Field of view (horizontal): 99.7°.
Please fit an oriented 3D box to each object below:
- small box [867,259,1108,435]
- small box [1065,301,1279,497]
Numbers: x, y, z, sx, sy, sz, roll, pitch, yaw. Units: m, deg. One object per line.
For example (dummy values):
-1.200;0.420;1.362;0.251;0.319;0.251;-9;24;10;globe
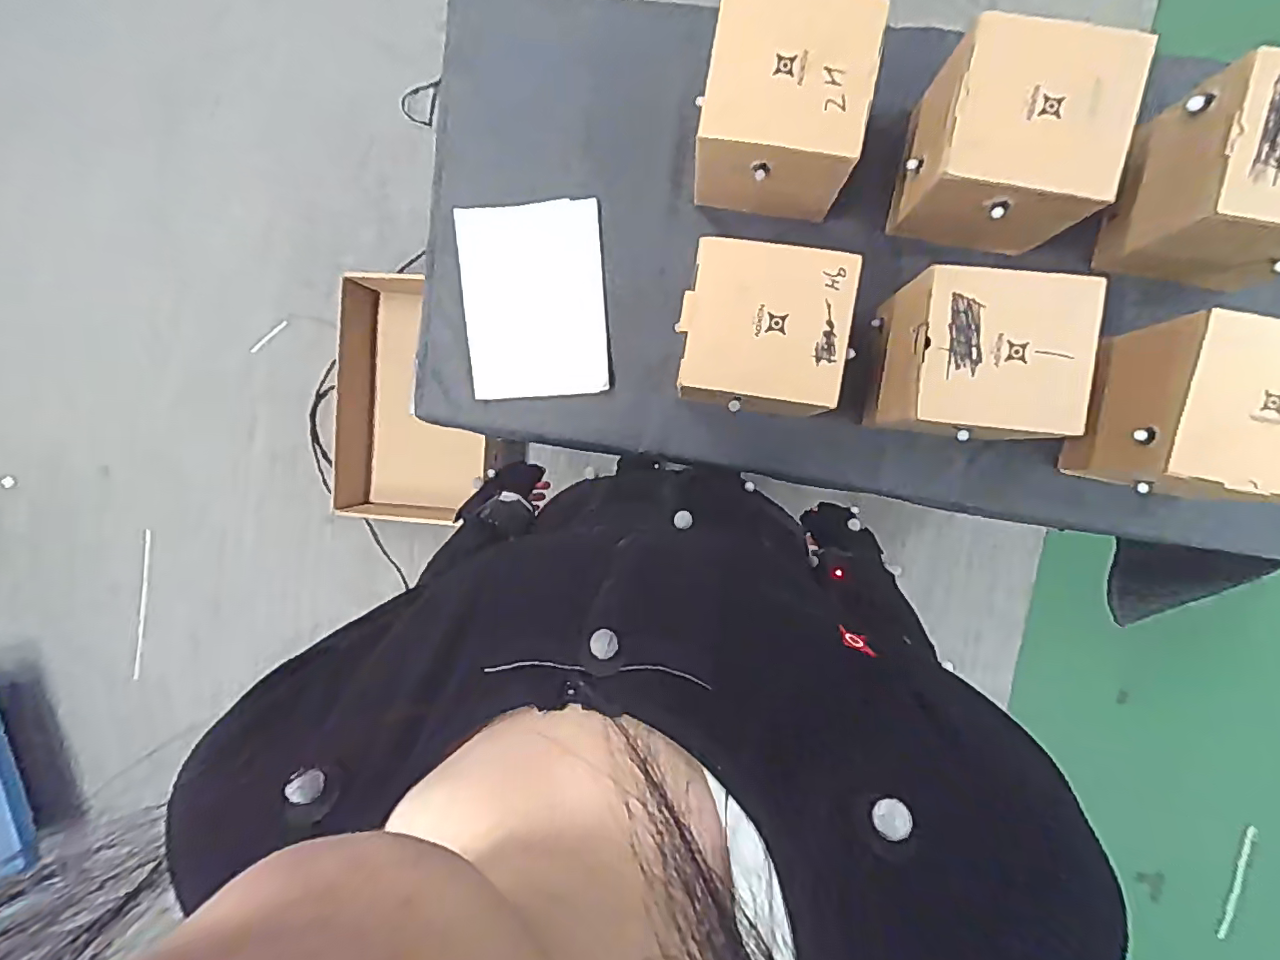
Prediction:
0.388;-0.144;0.638;0.179;0.176;0.168;6;93;3;small box
0.643;-0.084;0.625;0.168;0.176;0.179;12;94;4;small box
